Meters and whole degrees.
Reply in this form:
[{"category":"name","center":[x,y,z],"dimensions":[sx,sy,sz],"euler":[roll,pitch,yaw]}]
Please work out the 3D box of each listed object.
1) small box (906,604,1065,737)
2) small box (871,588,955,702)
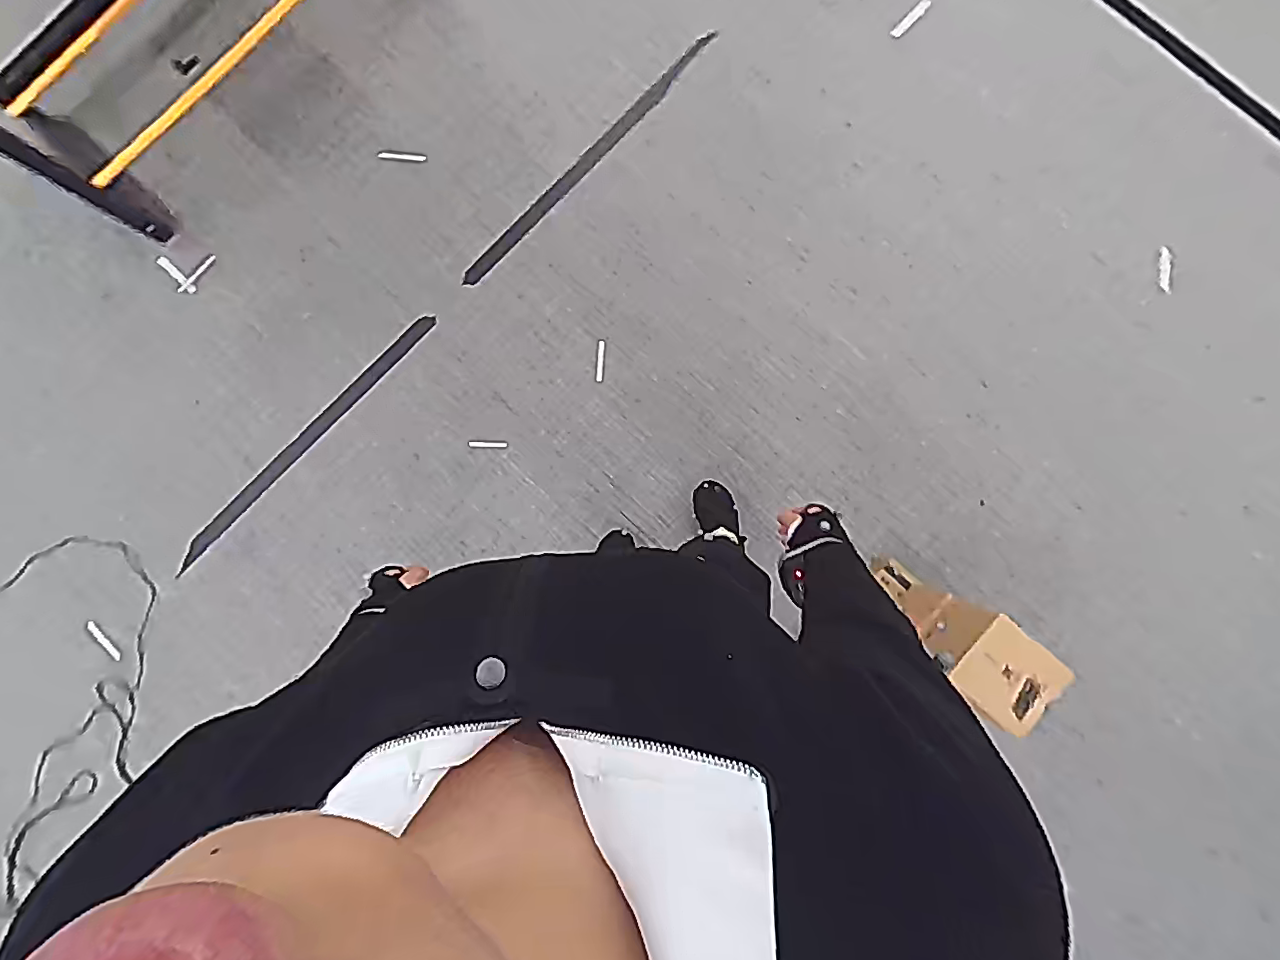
[{"category":"small box","center":[0.693,0.376,1.106],"dimensions":[0.179,0.176,0.168],"euler":[42,89,4]},{"category":"small box","center":[0.686,0.376,1.271],"dimensions":[0.179,0.176,0.168],"euler":[43,89,4]}]
